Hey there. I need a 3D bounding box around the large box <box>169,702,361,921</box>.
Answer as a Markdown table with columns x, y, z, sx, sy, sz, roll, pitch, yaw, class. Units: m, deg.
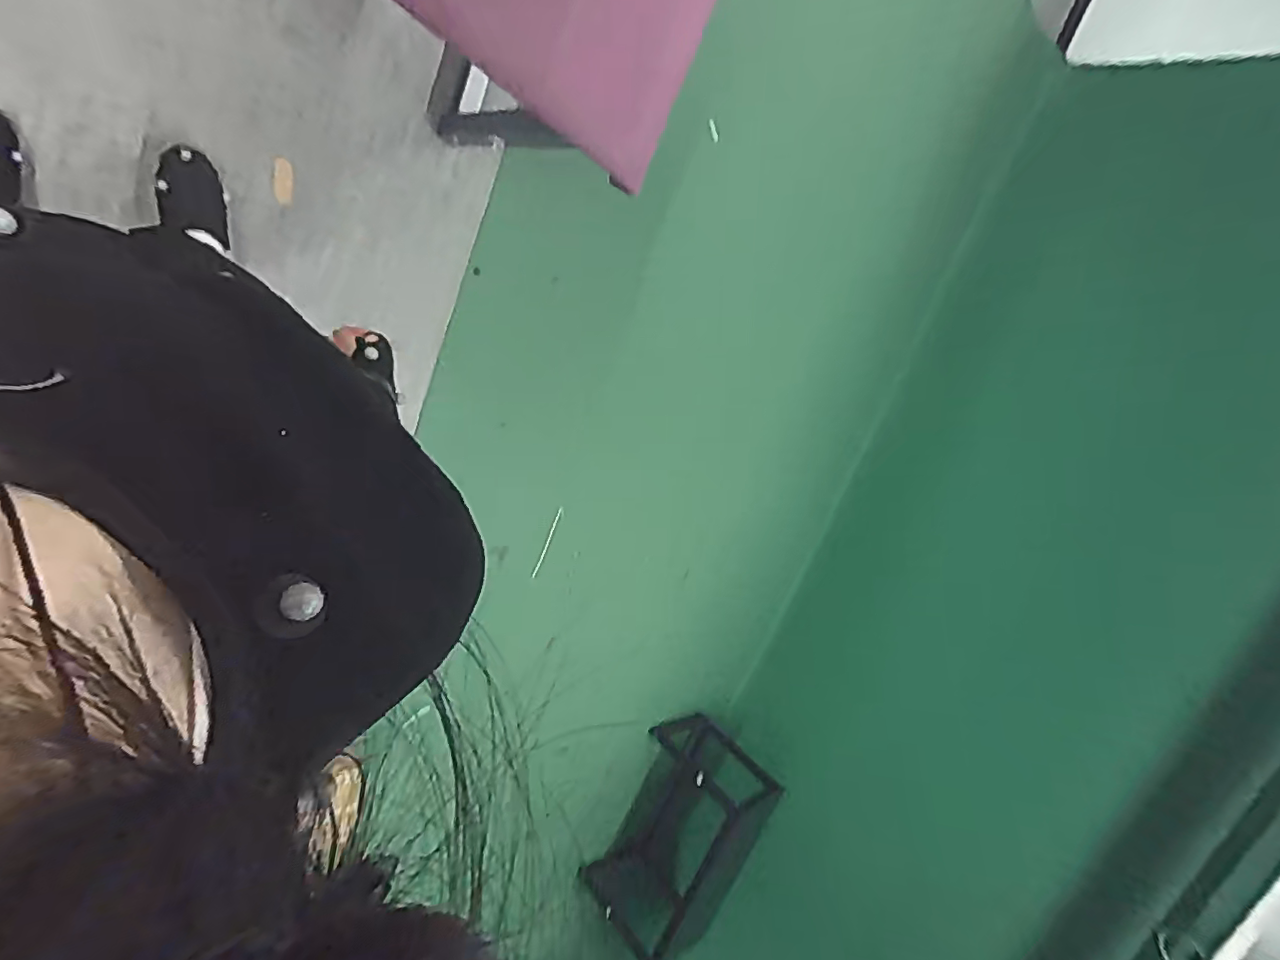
| x | y | z | sx | sy | sz | roll | pitch | yaw | class |
| --- | --- | --- | --- | --- | --- | --- | --- | --- | --- |
| -1.087 | 0.939 | 1.590 | 0.408 | 0.320 | 0.320 | -10 | 121 | -44 | large box |
